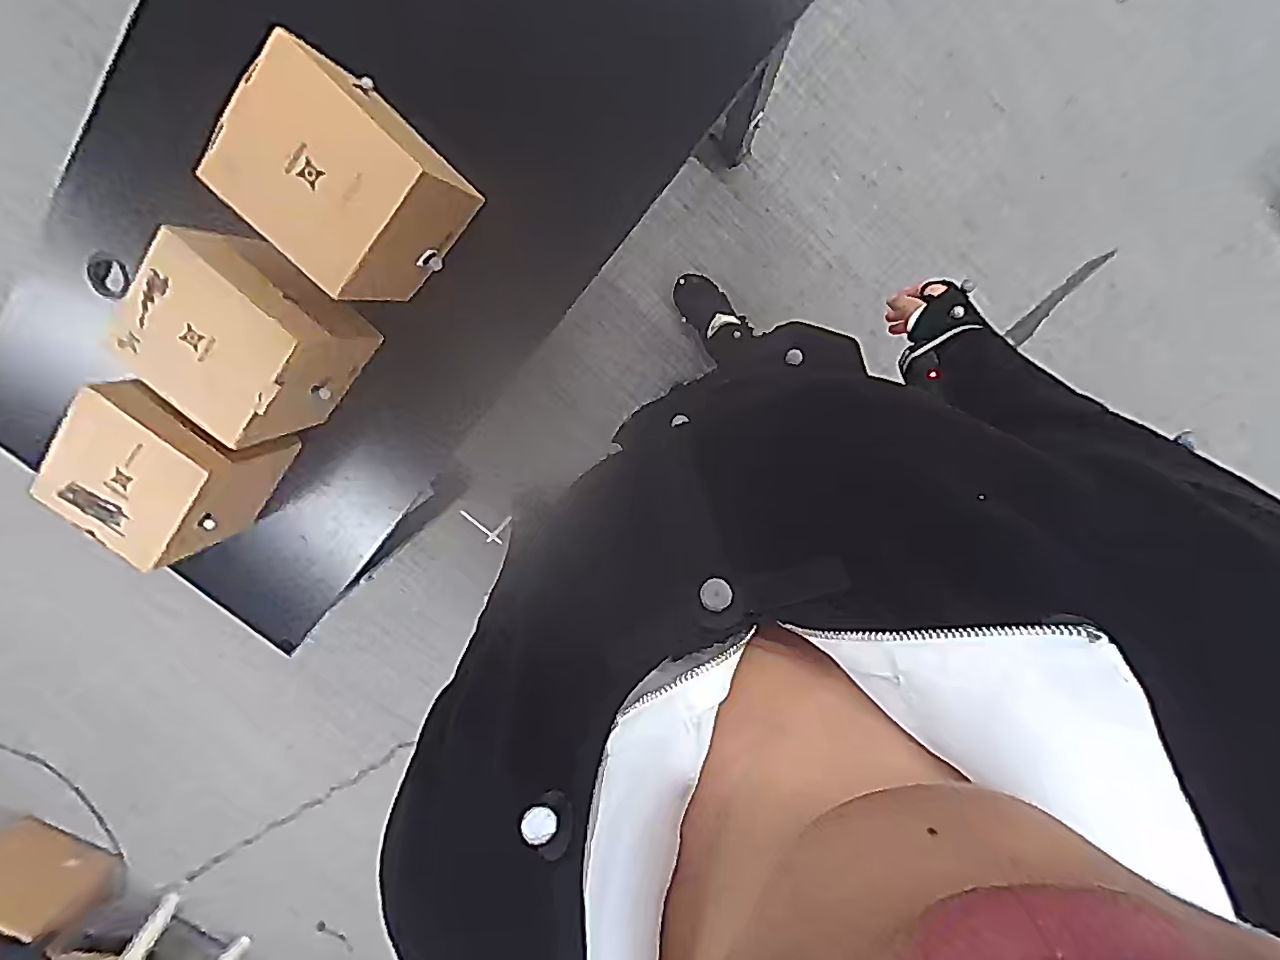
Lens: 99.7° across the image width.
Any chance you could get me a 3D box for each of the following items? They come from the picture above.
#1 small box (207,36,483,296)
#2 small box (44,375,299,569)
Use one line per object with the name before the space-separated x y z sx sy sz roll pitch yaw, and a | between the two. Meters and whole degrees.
small box | -0.315 -0.327 0.611 0.179 0.176 0.168 42 107 -9
small box | -0.610 -0.020 0.727 0.168 0.176 0.179 39 105 -7
